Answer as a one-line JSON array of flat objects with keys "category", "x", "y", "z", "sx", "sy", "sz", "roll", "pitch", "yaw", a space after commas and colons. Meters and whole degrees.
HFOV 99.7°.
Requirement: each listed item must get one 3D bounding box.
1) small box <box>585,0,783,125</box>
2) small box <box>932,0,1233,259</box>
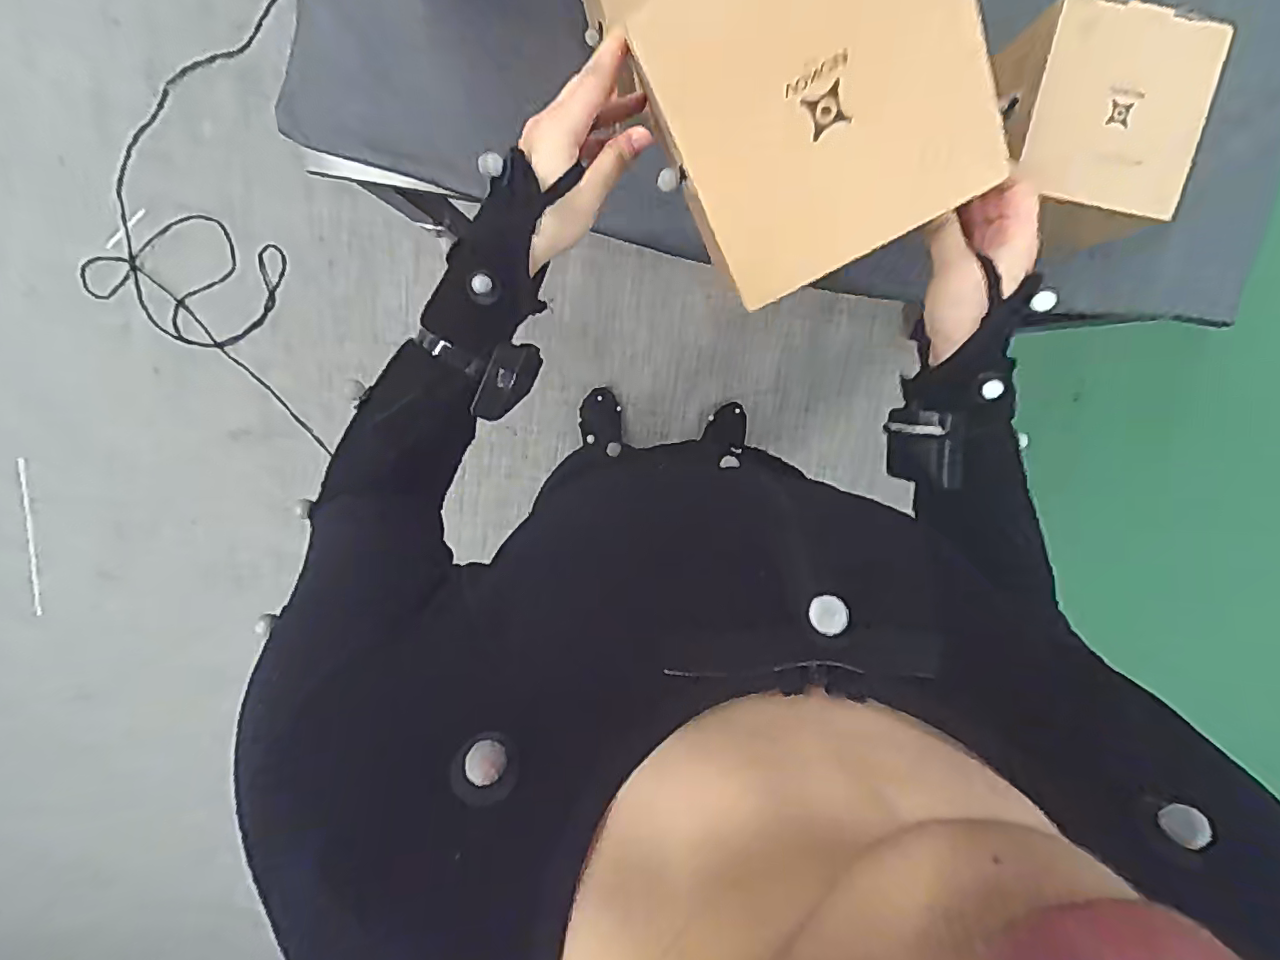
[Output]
[{"category": "small box", "x": 0.032, "y": -0.503, "z": 0.559, "sx": 0.168, "sy": 0.176, "sz": 0.179, "roll": -16, "pitch": 100, "yaw": 2}, {"category": "small box", "x": 0.453, "y": -0.362, "z": 0.589, "sx": 0.168, "sy": 0.176, "sz": 0.179, "roll": 10, "pitch": 101, "yaw": -1}]
